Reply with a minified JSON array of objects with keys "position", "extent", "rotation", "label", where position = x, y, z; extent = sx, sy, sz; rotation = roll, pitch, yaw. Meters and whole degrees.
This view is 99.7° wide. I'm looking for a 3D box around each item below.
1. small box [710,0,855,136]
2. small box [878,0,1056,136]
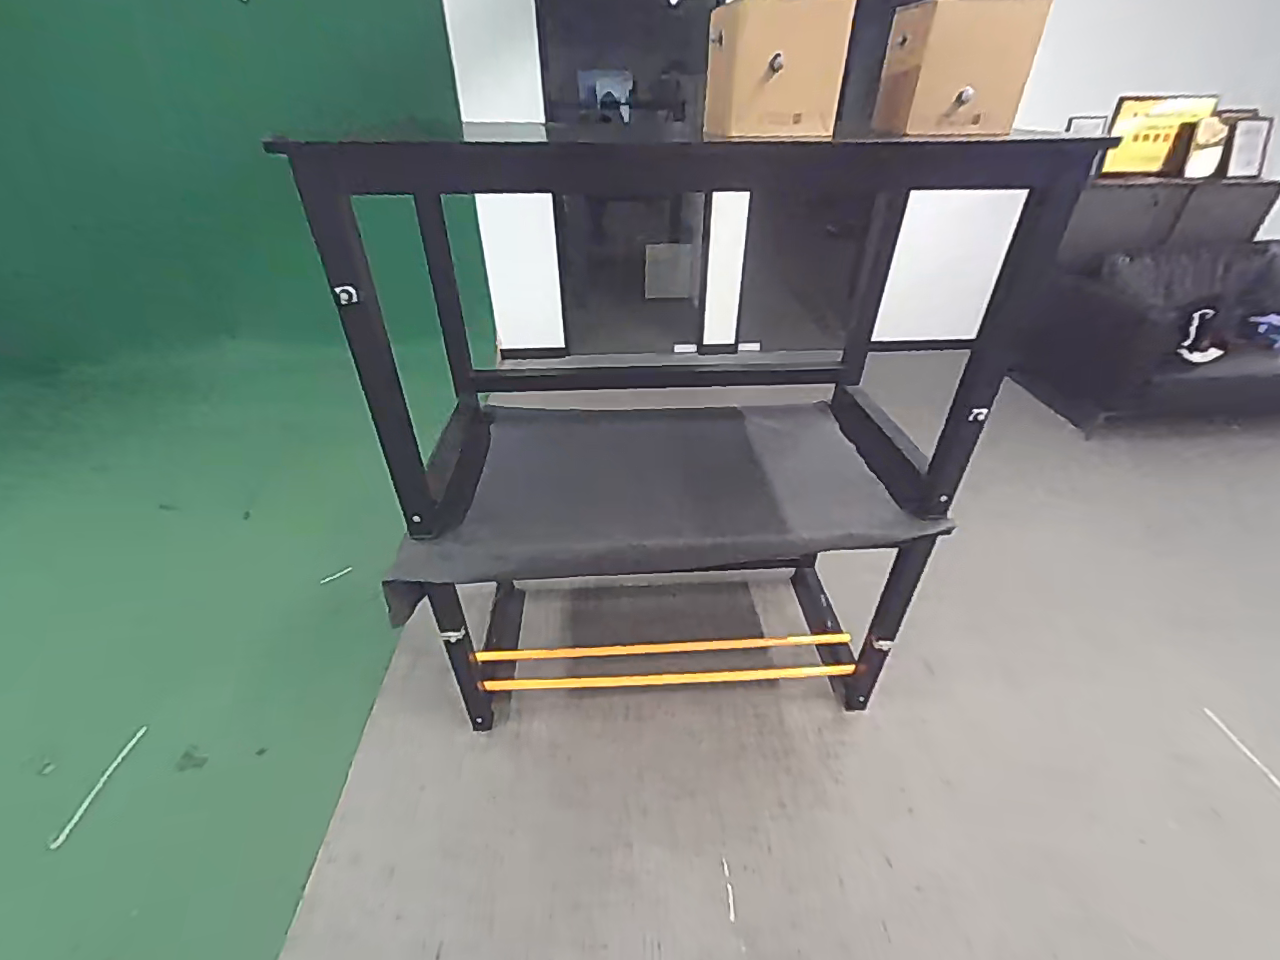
[{"position":[0.211,-0.644,0.850],"extent":[0.168,0.176,0.179],"rotation":[-5,35,-7],"label":"small box"},{"position":[0.504,-0.660,0.867],"extent":[0.168,0.176,0.179],"rotation":[1,36,2],"label":"small box"}]
